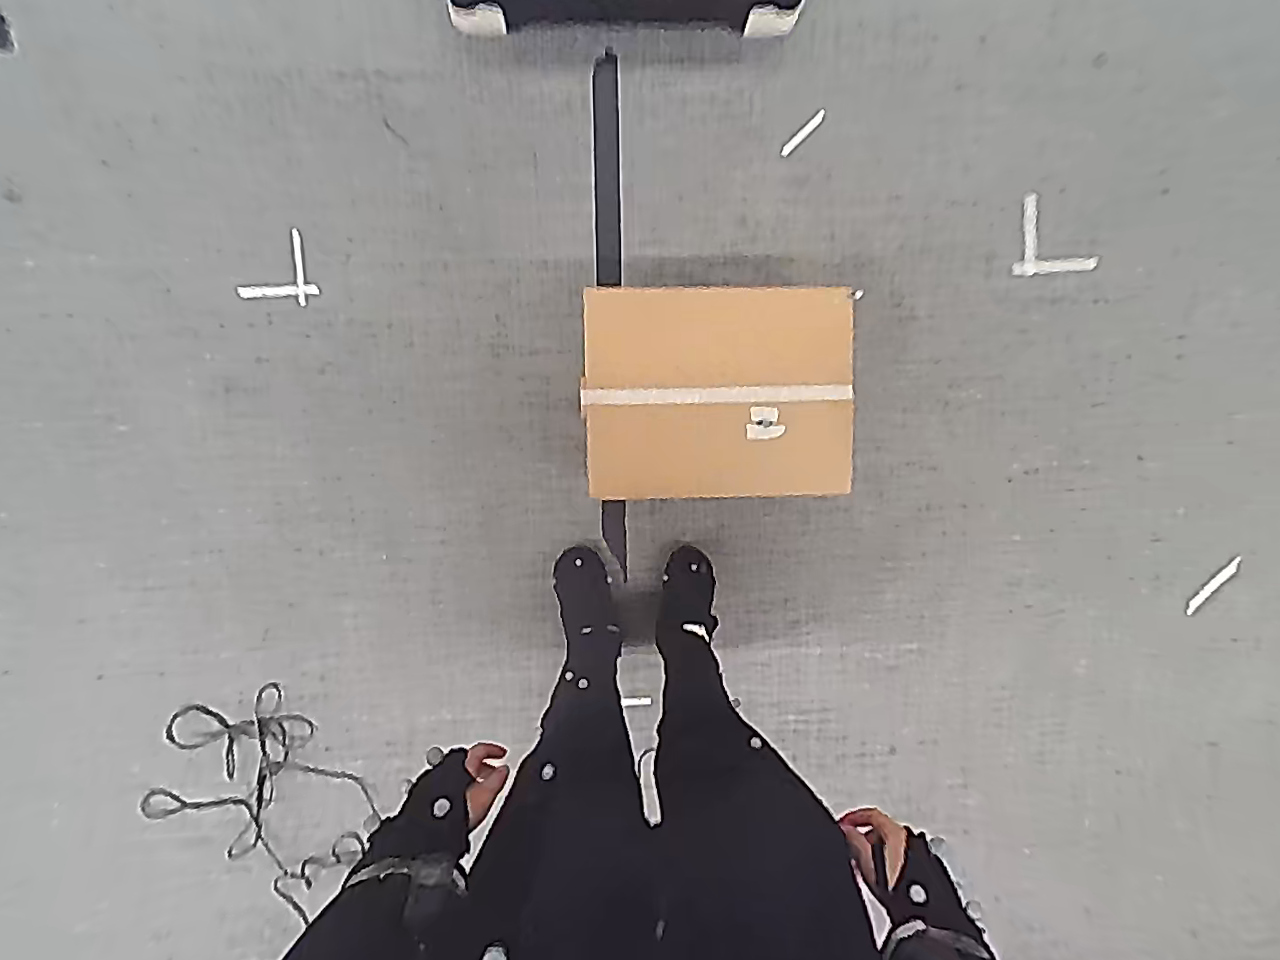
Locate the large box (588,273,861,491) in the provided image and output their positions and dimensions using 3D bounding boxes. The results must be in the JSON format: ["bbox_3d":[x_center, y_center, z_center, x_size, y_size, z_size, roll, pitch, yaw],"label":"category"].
[{"bbox_3d":[0.120,-0.156,0.943,0.408,0.320,0.320,-1,95,-3],"label":"large box"}]
